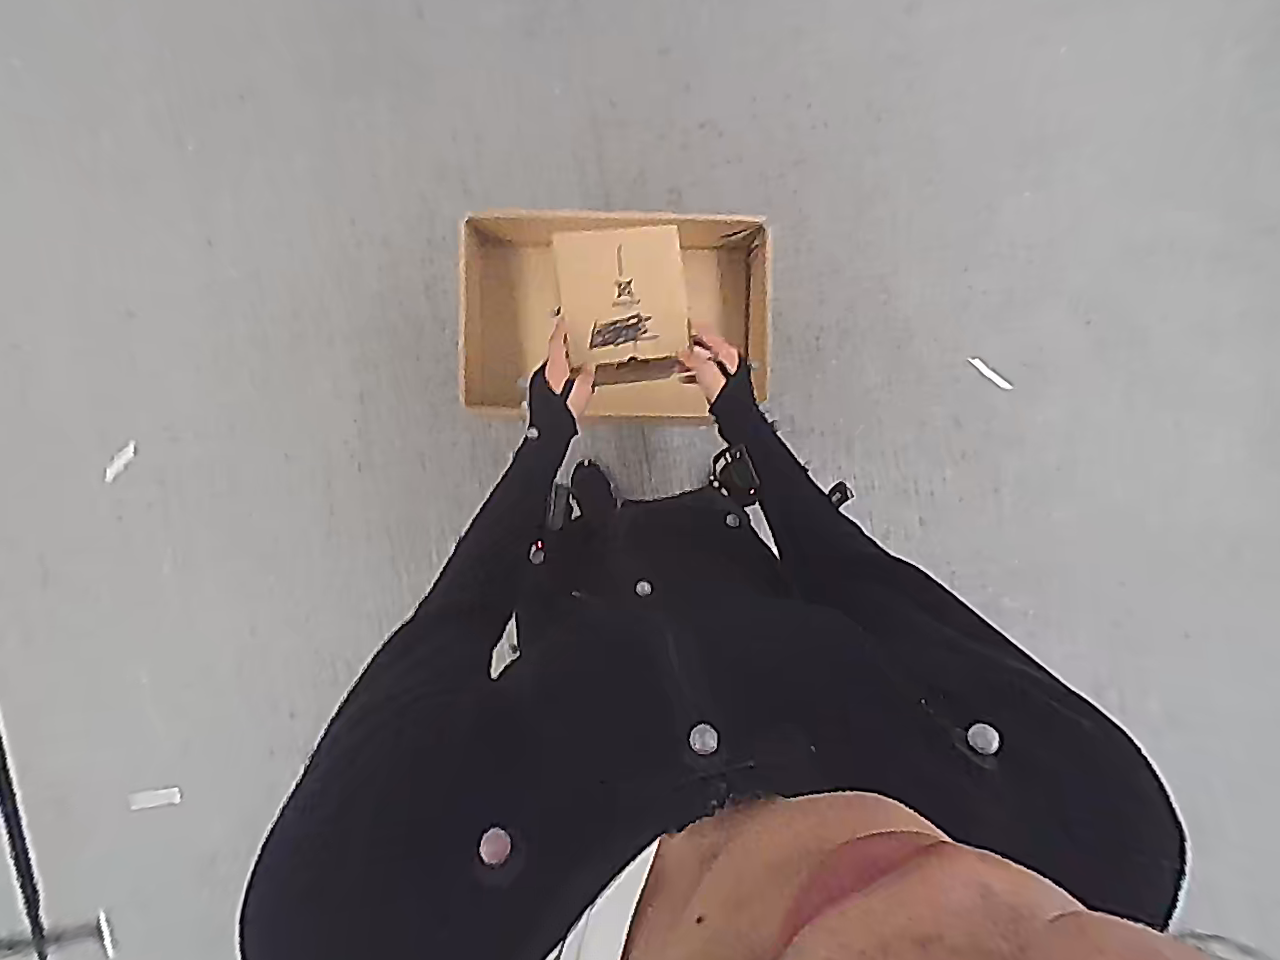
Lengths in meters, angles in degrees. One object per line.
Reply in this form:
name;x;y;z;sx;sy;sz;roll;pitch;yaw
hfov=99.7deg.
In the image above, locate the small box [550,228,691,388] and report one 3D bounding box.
small box;-0.034;-0.233;0.776;0.168;0.176;0.179;-9;90;-9
